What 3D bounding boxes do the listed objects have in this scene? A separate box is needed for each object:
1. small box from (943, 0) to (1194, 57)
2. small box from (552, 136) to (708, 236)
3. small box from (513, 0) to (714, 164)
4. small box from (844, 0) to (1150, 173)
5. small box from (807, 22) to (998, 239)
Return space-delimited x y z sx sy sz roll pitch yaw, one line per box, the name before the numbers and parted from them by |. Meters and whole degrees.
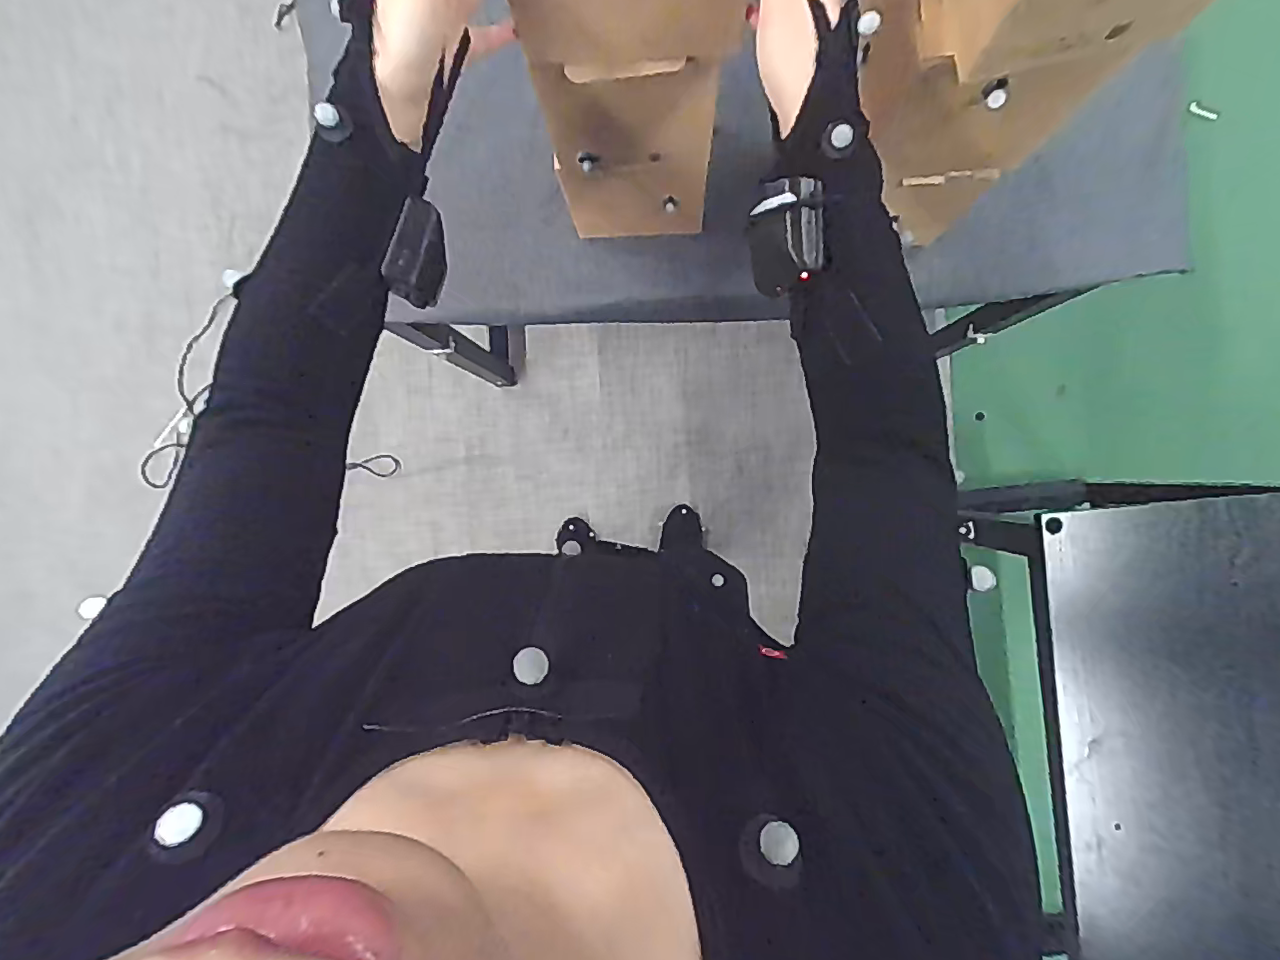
small box | 0.300 -0.407 0.330 0.168 0.176 0.179 -11 88 4
small box | -0.009 -0.429 0.682 0.179 0.176 0.168 -2 88 5
small box | -0.020 -0.433 0.519 0.168 0.176 0.179 -5 88 3
small box | 0.304 -0.413 0.496 0.179 0.176 0.168 -3 89 5
small box | 0.305 -0.410 0.659 0.168 0.176 0.179 -1 90 4
